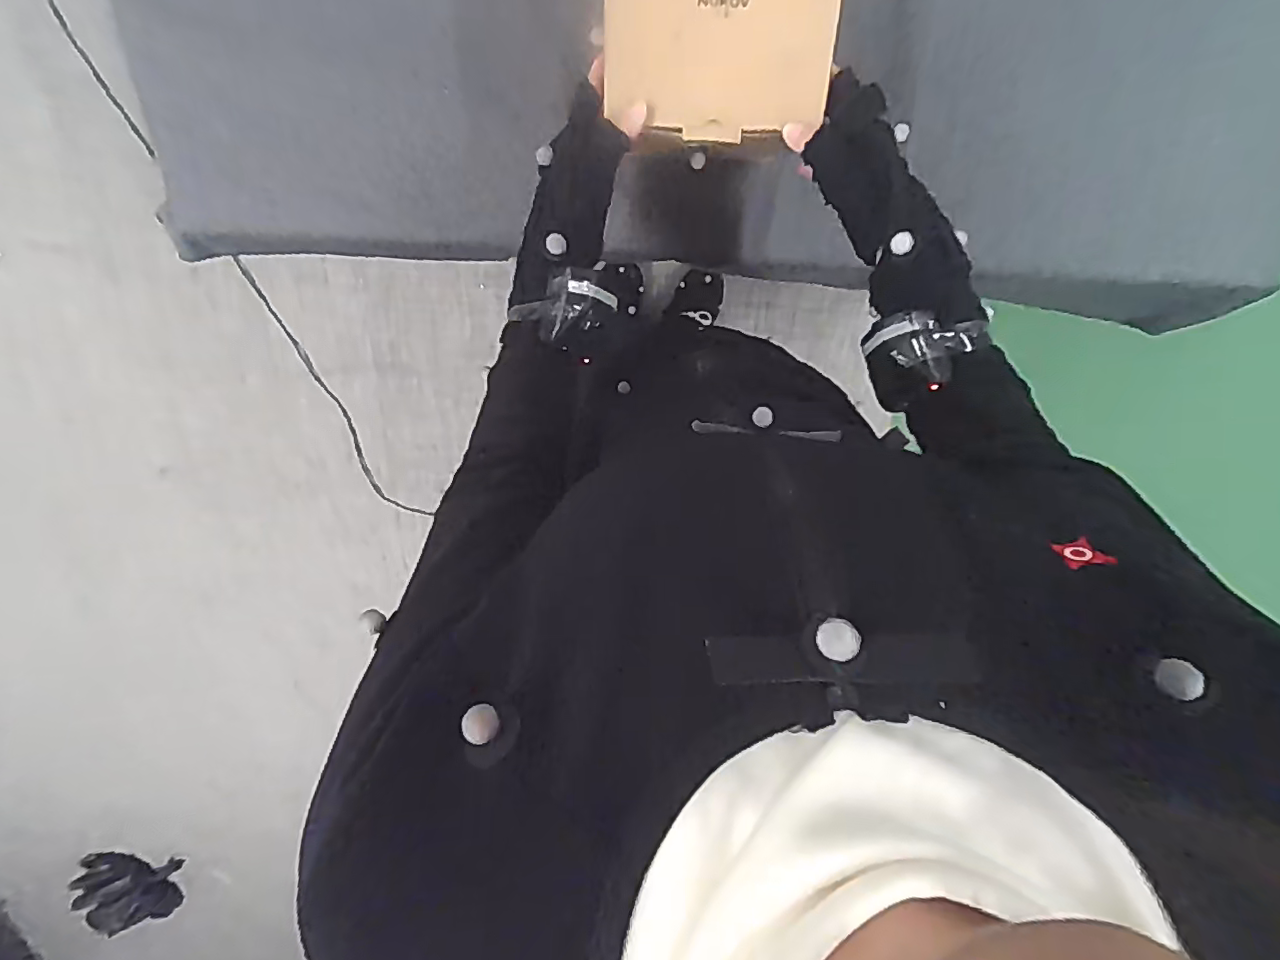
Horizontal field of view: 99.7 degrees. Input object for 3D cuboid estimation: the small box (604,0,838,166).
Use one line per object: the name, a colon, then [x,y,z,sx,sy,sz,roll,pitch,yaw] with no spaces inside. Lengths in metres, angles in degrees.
small box: [0.057,-0.367,0.450,0.168,0.176,0.179,1,117,-1]
